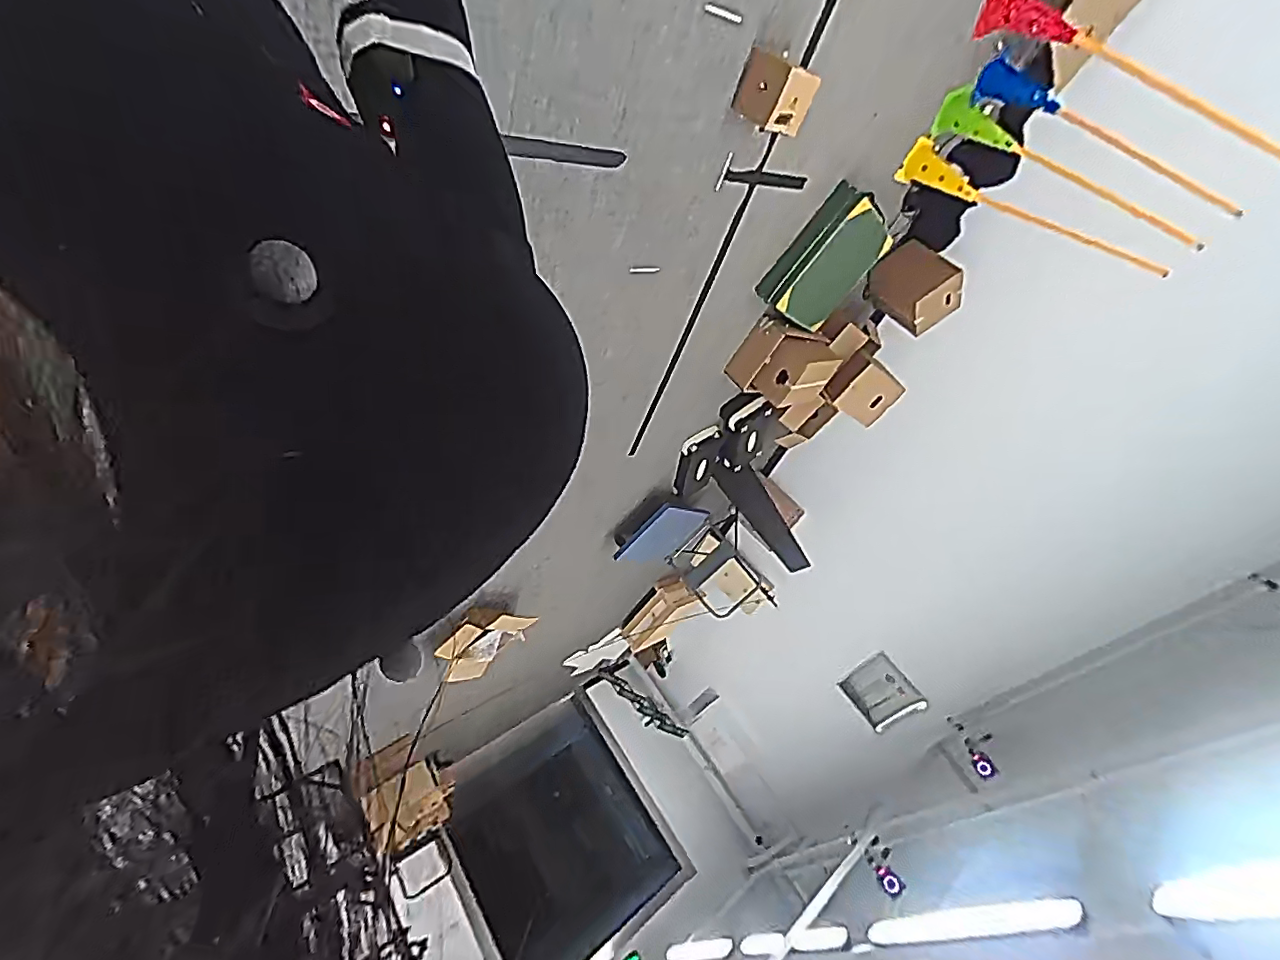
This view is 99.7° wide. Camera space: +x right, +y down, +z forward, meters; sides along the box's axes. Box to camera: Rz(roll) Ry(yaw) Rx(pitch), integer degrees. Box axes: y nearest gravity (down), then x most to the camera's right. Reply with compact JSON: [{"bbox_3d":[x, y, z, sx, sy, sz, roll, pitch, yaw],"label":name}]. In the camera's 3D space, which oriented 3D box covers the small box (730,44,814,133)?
[{"bbox_3d":[0.417,-1.262,1.747,0.168,0.176,0.179,-20,148,-39],"label":"small box"}]
